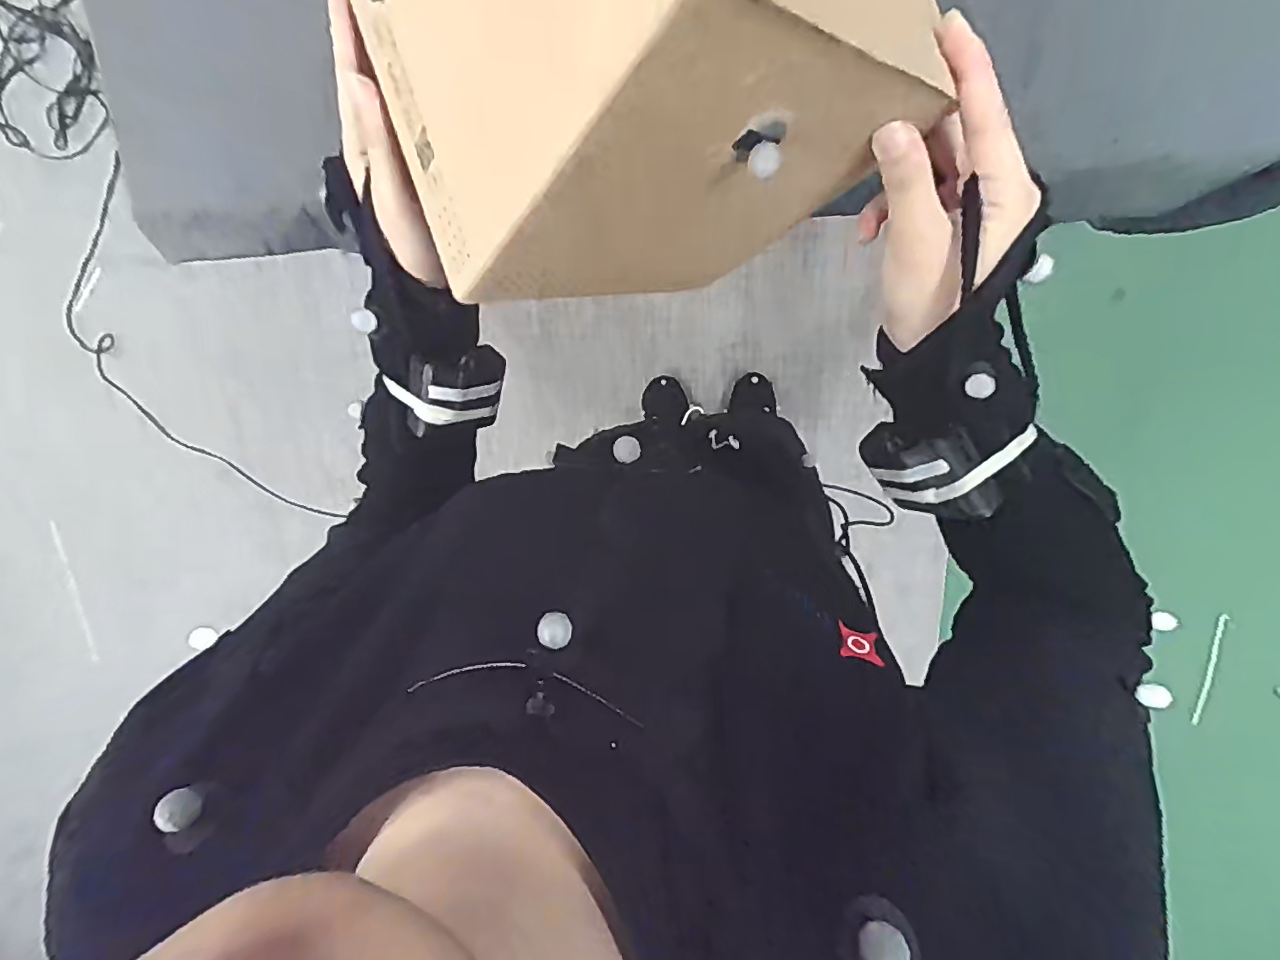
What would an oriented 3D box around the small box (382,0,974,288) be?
[{"bbox_3d":[0.004,-0.199,0.239,0.176,0.179,0.168,-19,91,50],"label":"small box"}]
